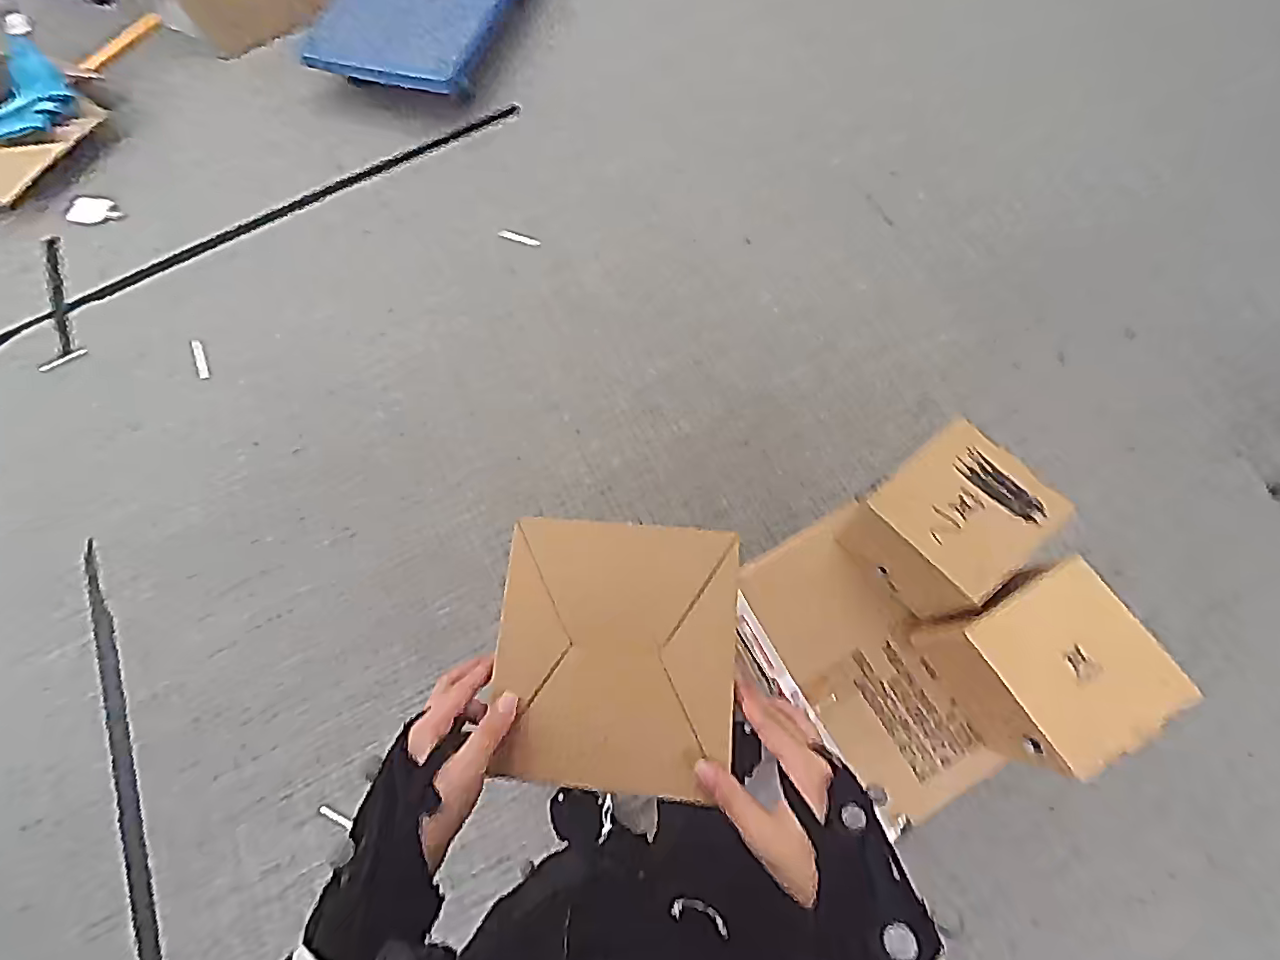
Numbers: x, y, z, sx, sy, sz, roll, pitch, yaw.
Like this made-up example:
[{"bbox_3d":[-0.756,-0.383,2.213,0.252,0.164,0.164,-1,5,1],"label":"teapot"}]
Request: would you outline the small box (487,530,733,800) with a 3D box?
[{"bbox_3d":[-0.014,0.147,0.449,0.168,0.176,0.179,3,75,5],"label":"small box"}]
